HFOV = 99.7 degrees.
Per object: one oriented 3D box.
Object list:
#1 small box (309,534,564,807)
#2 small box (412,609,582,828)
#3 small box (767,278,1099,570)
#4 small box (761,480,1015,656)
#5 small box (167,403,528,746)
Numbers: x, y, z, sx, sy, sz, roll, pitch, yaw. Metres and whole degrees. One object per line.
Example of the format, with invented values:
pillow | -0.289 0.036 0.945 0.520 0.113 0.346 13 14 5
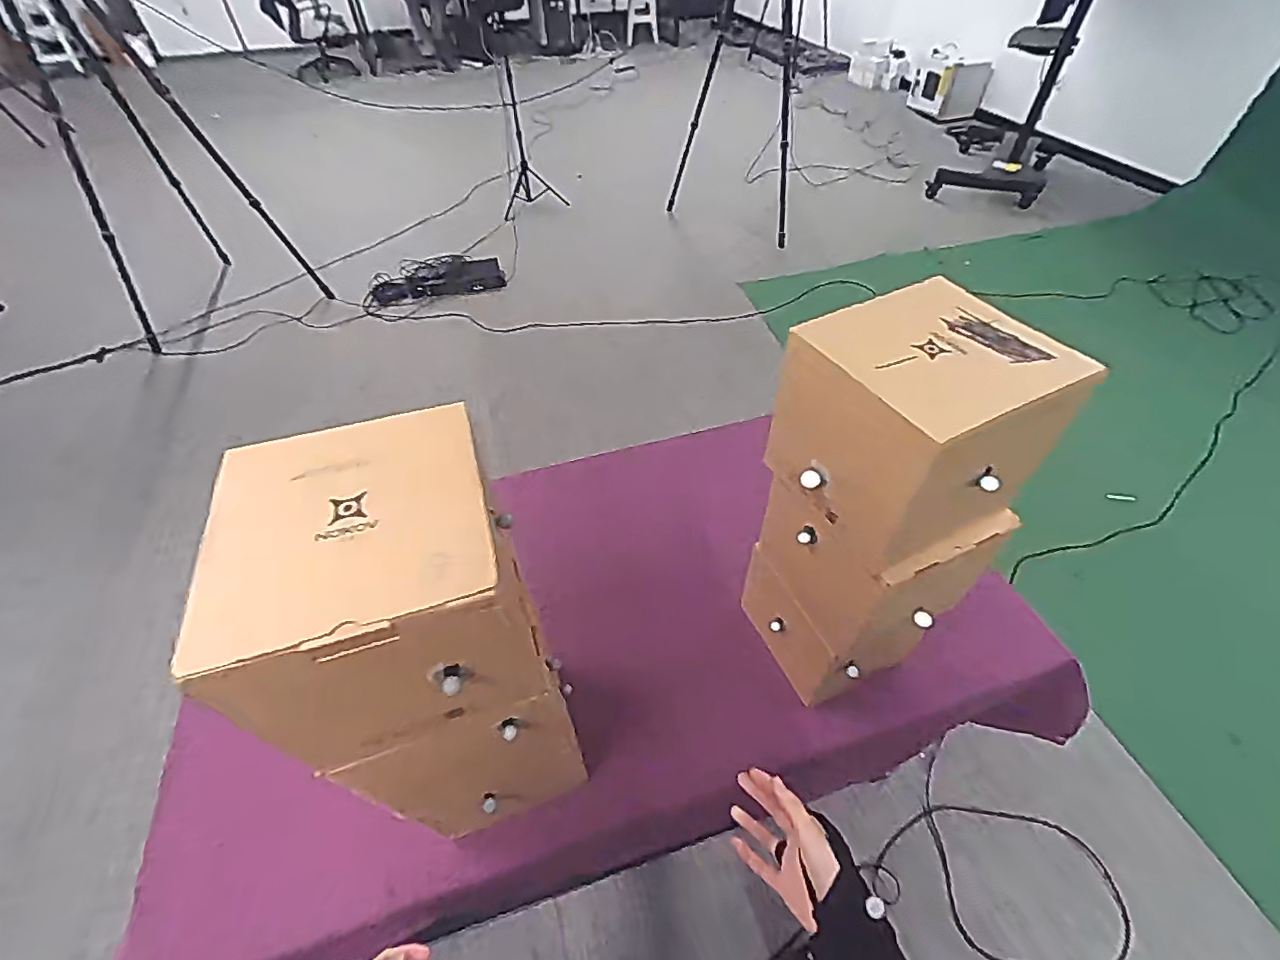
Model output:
small box | -0.184 0.184 0.520 0.179 0.176 0.168 -16 50 -13
small box | -0.180 0.287 0.646 0.179 0.176 0.168 -16 51 -12
small box | 0.237 -0.051 0.491 0.179 0.176 0.168 -22 50 -15
small box | 0.254 0.063 0.608 0.168 0.176 0.179 -19 51 -14
small box | -0.187 0.074 0.400 0.168 0.176 0.179 -13 49 -12
